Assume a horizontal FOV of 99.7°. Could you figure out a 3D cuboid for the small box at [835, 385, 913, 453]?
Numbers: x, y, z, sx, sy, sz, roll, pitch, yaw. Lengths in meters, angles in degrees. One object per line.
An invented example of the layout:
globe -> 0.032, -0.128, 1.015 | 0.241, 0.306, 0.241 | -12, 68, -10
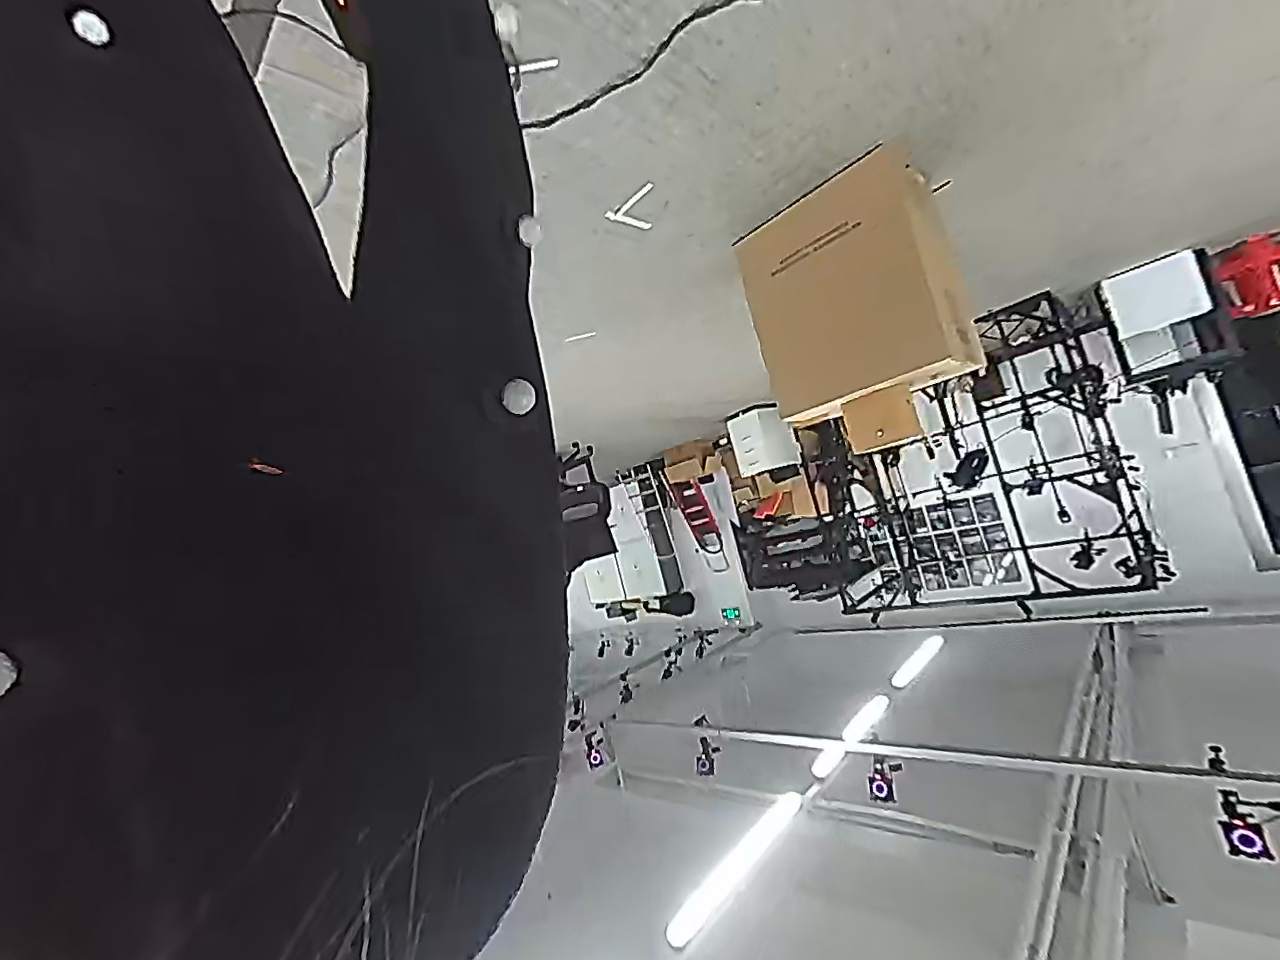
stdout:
small box -> 0.740, -0.191, 1.723 | 0.179, 0.176, 0.168 | -20, 172, 39
